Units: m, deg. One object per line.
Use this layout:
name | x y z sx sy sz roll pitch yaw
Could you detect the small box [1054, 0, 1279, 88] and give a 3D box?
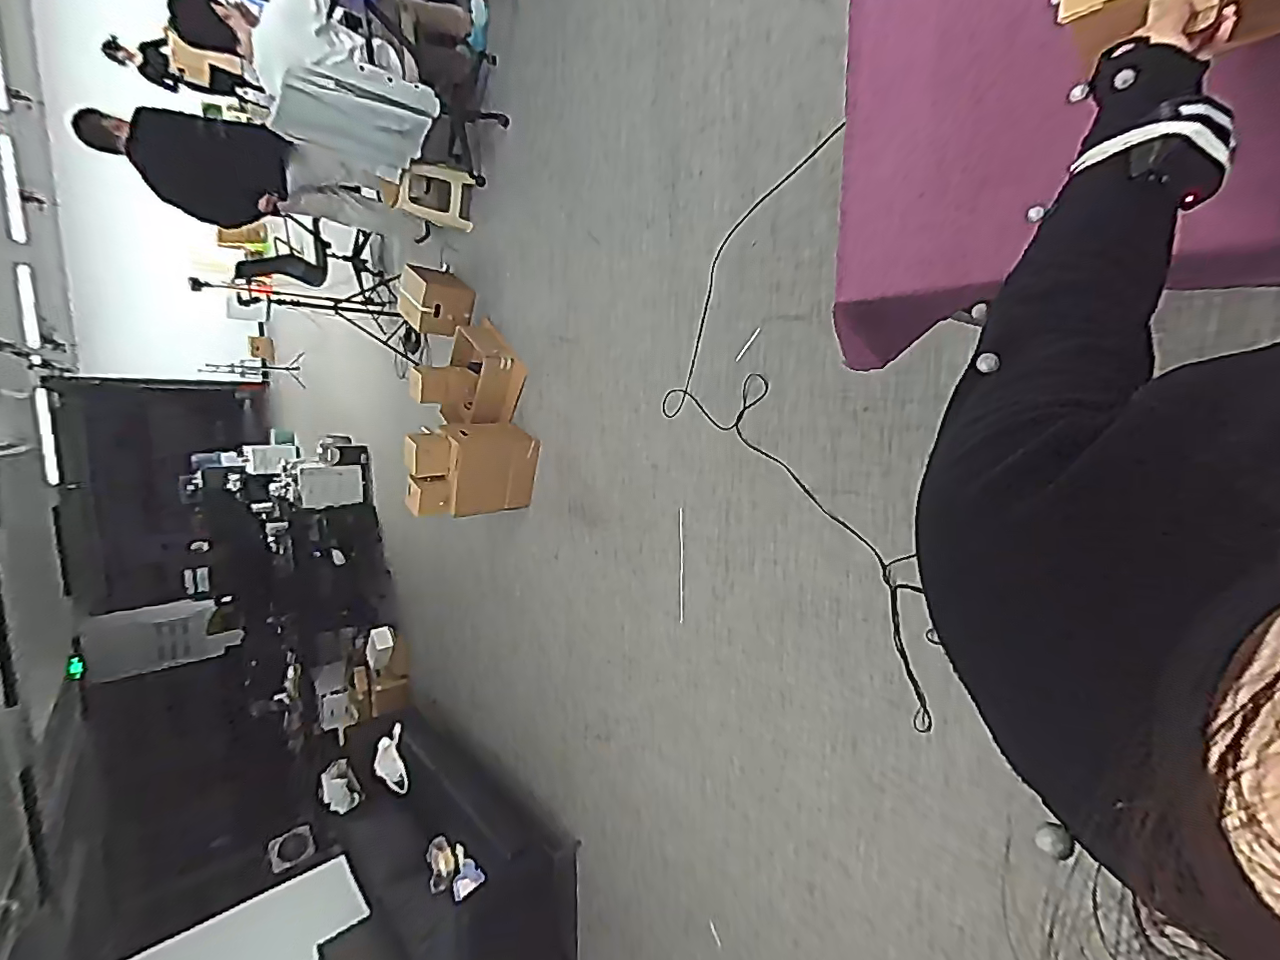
small box | 0.512 -0.516 0.499 0.168 0.176 0.179 10 103 47
